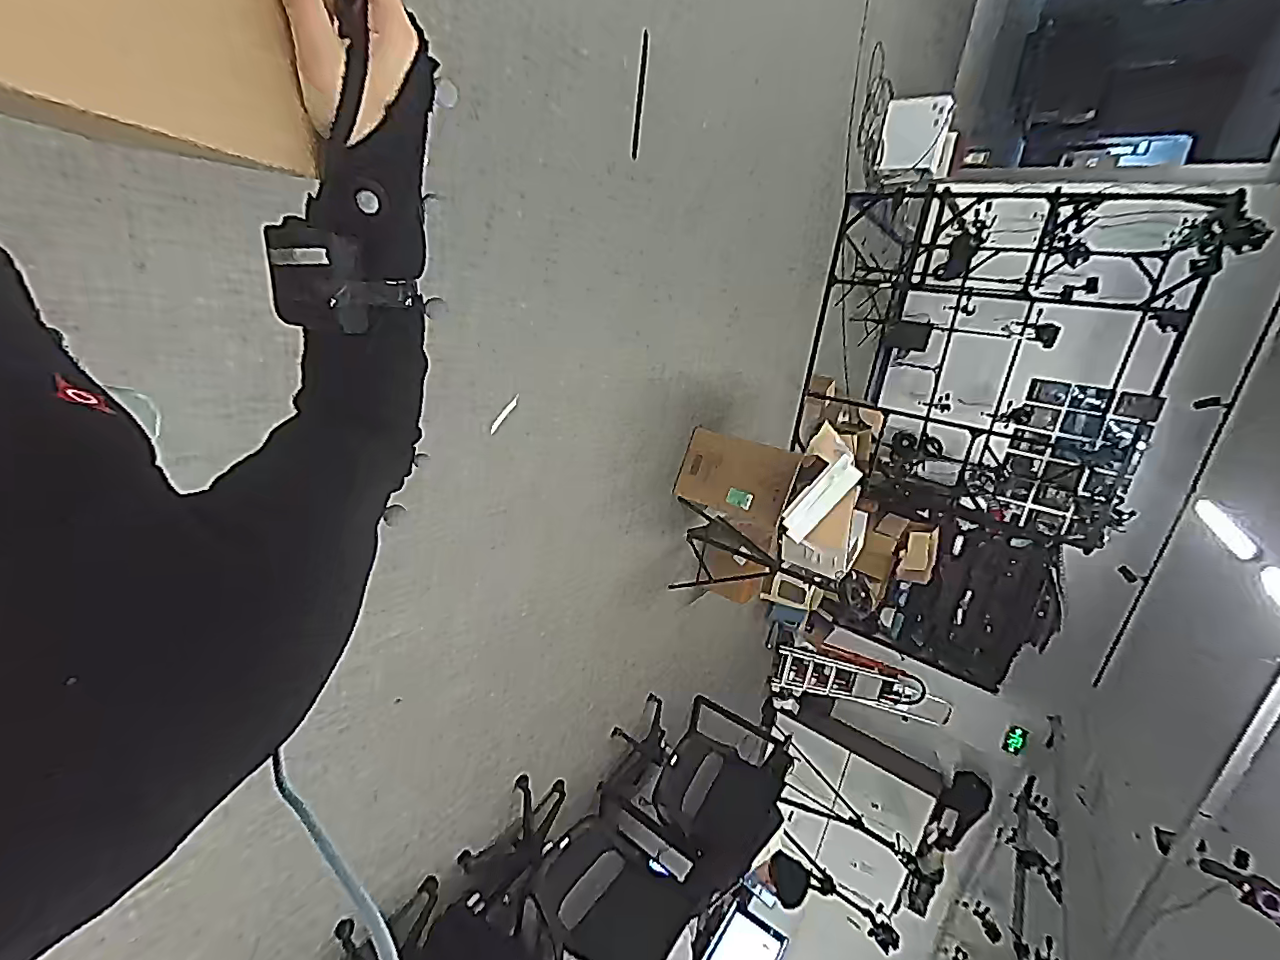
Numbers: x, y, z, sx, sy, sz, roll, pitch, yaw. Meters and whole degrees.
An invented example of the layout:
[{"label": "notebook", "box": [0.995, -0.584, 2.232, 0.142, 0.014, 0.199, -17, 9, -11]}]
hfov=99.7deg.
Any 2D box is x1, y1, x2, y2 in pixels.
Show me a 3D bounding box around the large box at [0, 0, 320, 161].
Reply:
[{"label": "large box", "box": [-0.394, -0.349, 0.186, 0.408, 0.320, 0.320, -16, 126, -56]}]
